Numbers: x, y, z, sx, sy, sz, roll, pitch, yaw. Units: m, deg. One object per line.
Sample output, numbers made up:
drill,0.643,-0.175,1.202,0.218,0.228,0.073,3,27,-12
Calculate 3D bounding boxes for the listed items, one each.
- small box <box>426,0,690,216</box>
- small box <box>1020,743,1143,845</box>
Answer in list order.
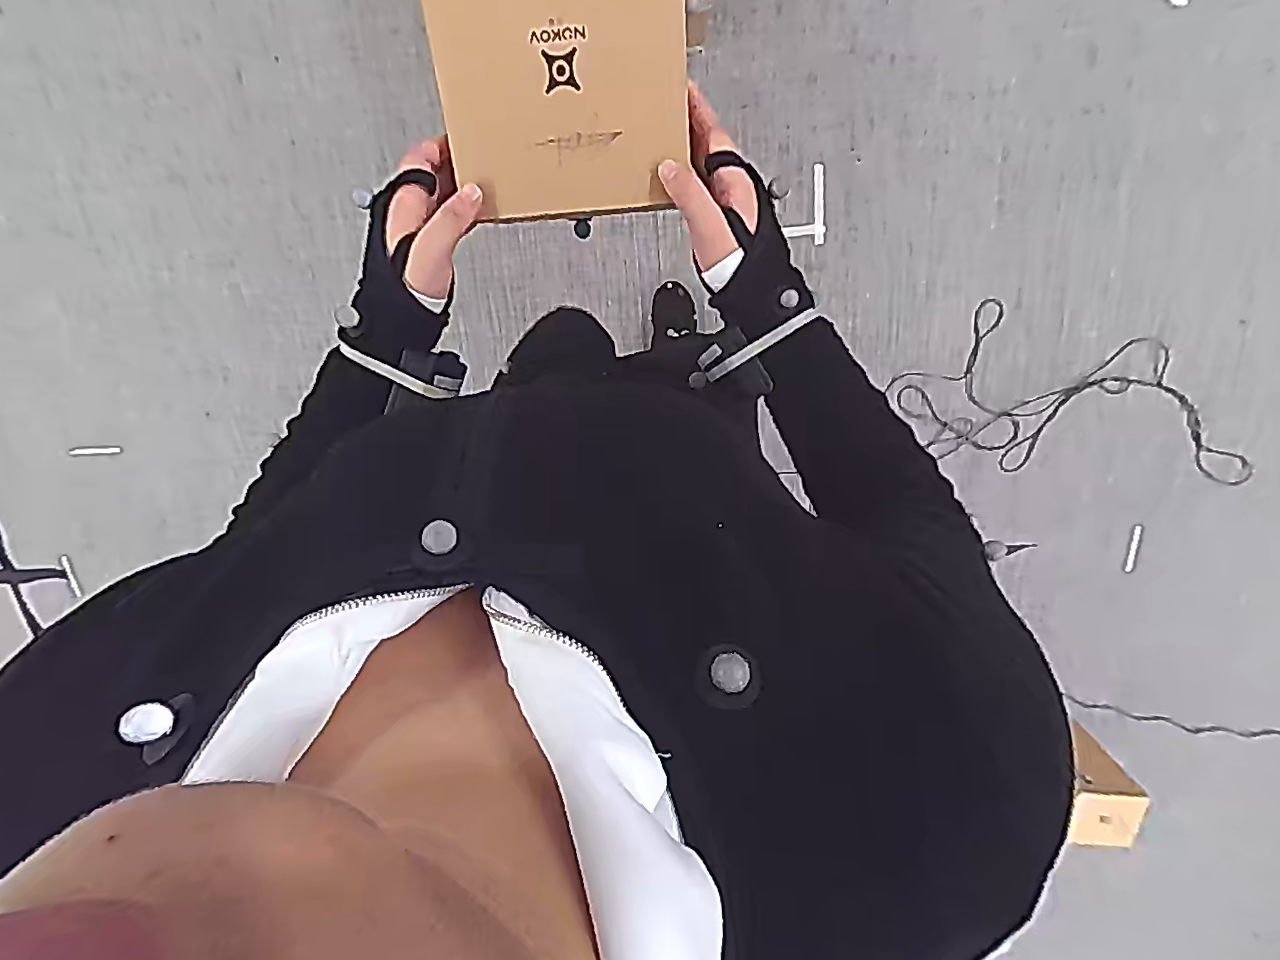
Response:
small box,-0.051,-0.310,0.422,0.168,0.176,0.179,-4,115,3
small box,1.169,0.834,1.449,0.179,0.176,0.168,2,108,1
